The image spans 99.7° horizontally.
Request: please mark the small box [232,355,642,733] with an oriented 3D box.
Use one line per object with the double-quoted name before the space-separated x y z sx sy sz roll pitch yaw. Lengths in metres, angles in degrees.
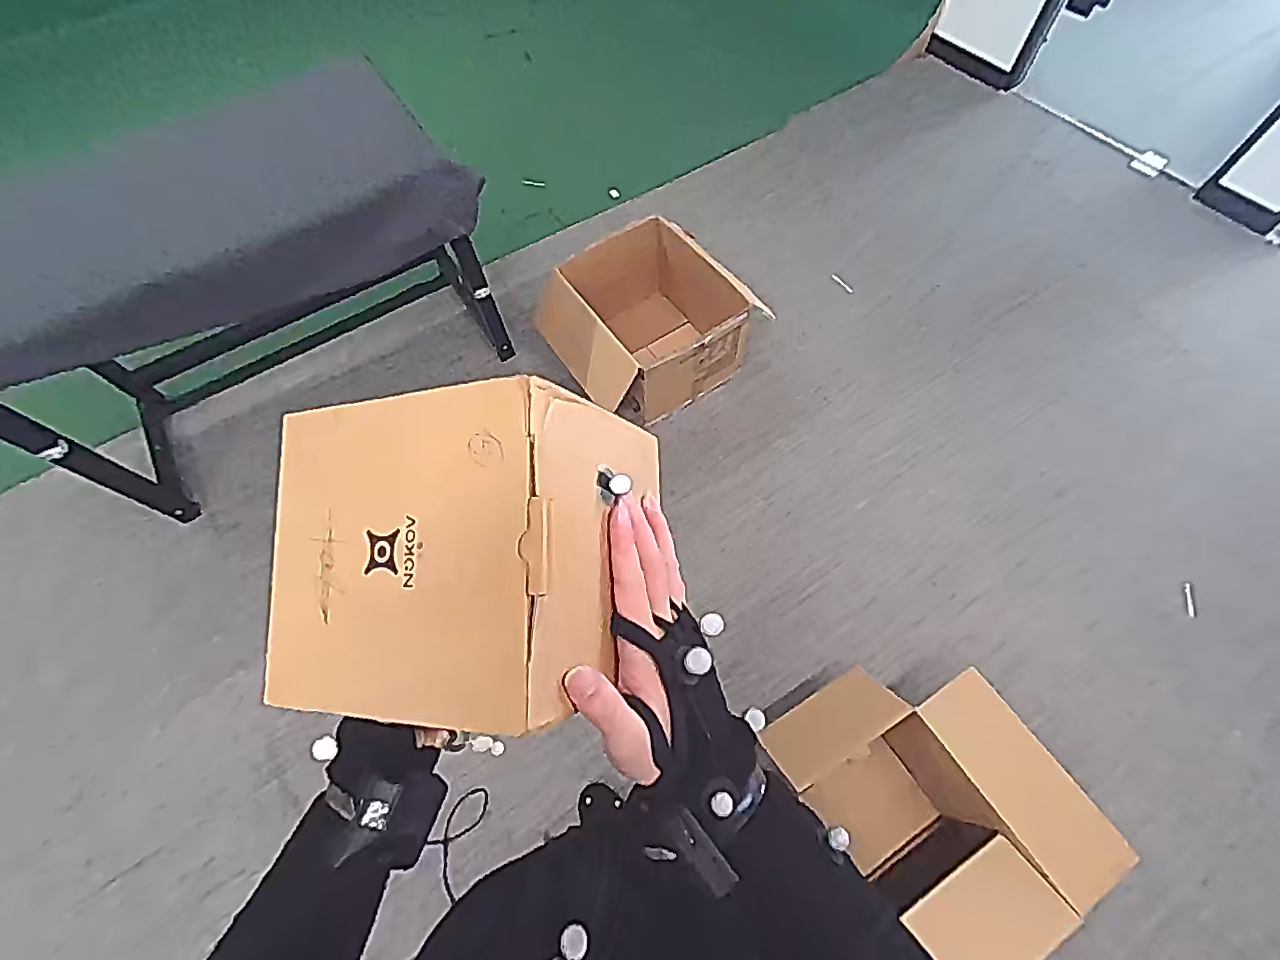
"small box" -0.104 0.040 0.335 0.179 0.176 0.168 -6 80 23
